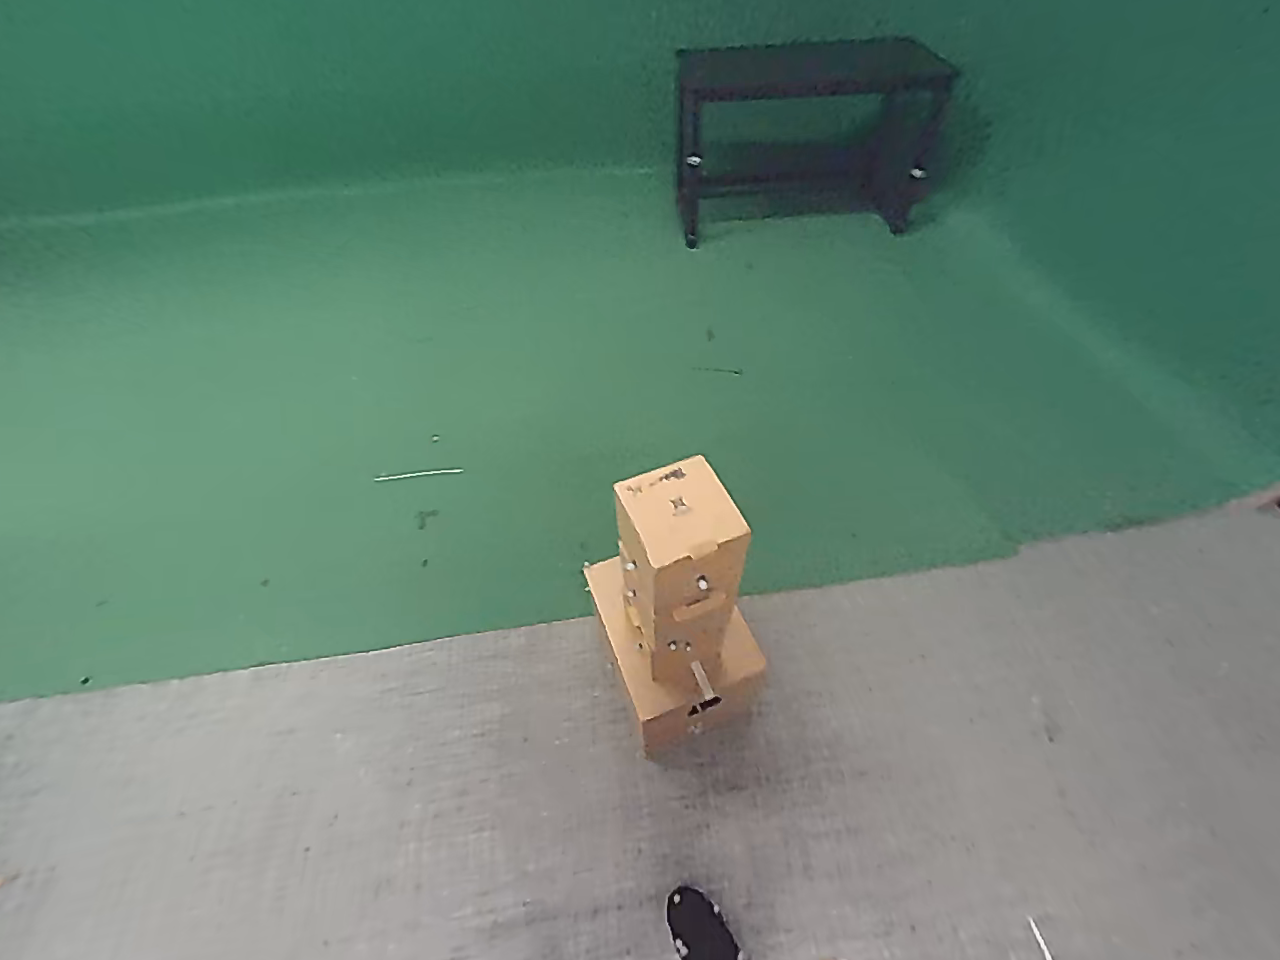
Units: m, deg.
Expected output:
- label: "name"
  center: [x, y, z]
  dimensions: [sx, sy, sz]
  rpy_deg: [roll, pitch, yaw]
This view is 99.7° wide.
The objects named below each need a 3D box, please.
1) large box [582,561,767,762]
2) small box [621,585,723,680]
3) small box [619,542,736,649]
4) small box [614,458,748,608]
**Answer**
- label: "large box"
  center: [0.075, 0.429, 1.389]
  dimensions: [0.320, 0.320, 0.408]
  rpy_deg: [-18, 51, -13]
- label: "small box"
  center: [0.070, 0.308, 1.174]
  dimensions: [0.179, 0.176, 0.168]
  rpy_deg: [-18, 52, -12]
- label: "small box"
  center: [0.069, 0.205, 1.046]
  dimensions: [0.168, 0.176, 0.179]
  rpy_deg: [-19, 52, -12]
- label: "small box"
  center: [0.065, 0.098, 0.921]
  dimensions: [0.168, 0.176, 0.179]
  rpy_deg: [-18, 53, -12]
